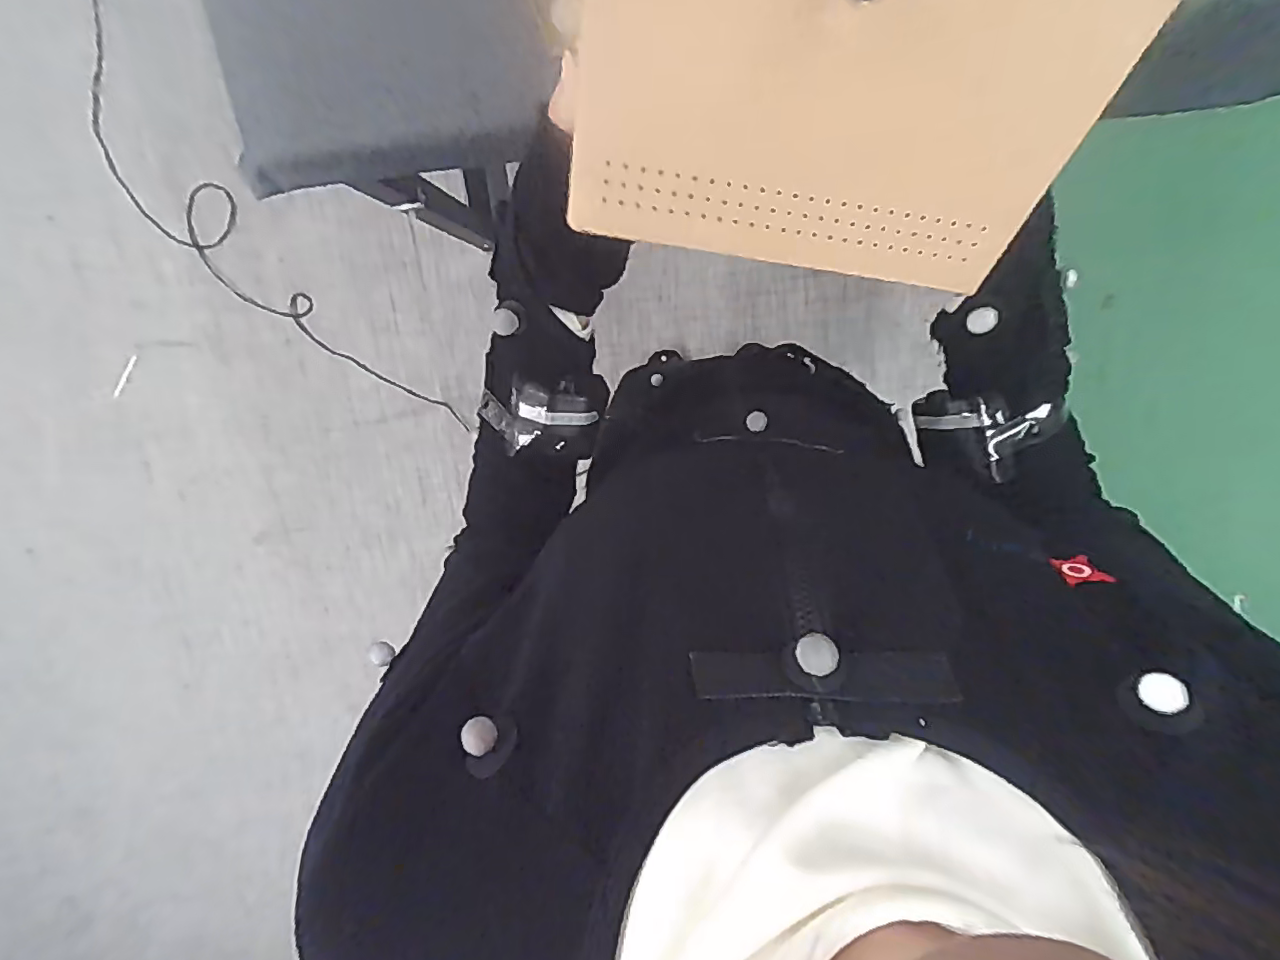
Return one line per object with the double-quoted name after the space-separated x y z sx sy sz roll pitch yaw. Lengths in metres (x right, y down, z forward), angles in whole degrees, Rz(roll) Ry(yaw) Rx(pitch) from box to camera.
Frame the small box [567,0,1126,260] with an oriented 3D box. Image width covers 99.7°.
0.069 -0.211 0.215 0.179 0.168 0.176 5 139 -7 "small box"
